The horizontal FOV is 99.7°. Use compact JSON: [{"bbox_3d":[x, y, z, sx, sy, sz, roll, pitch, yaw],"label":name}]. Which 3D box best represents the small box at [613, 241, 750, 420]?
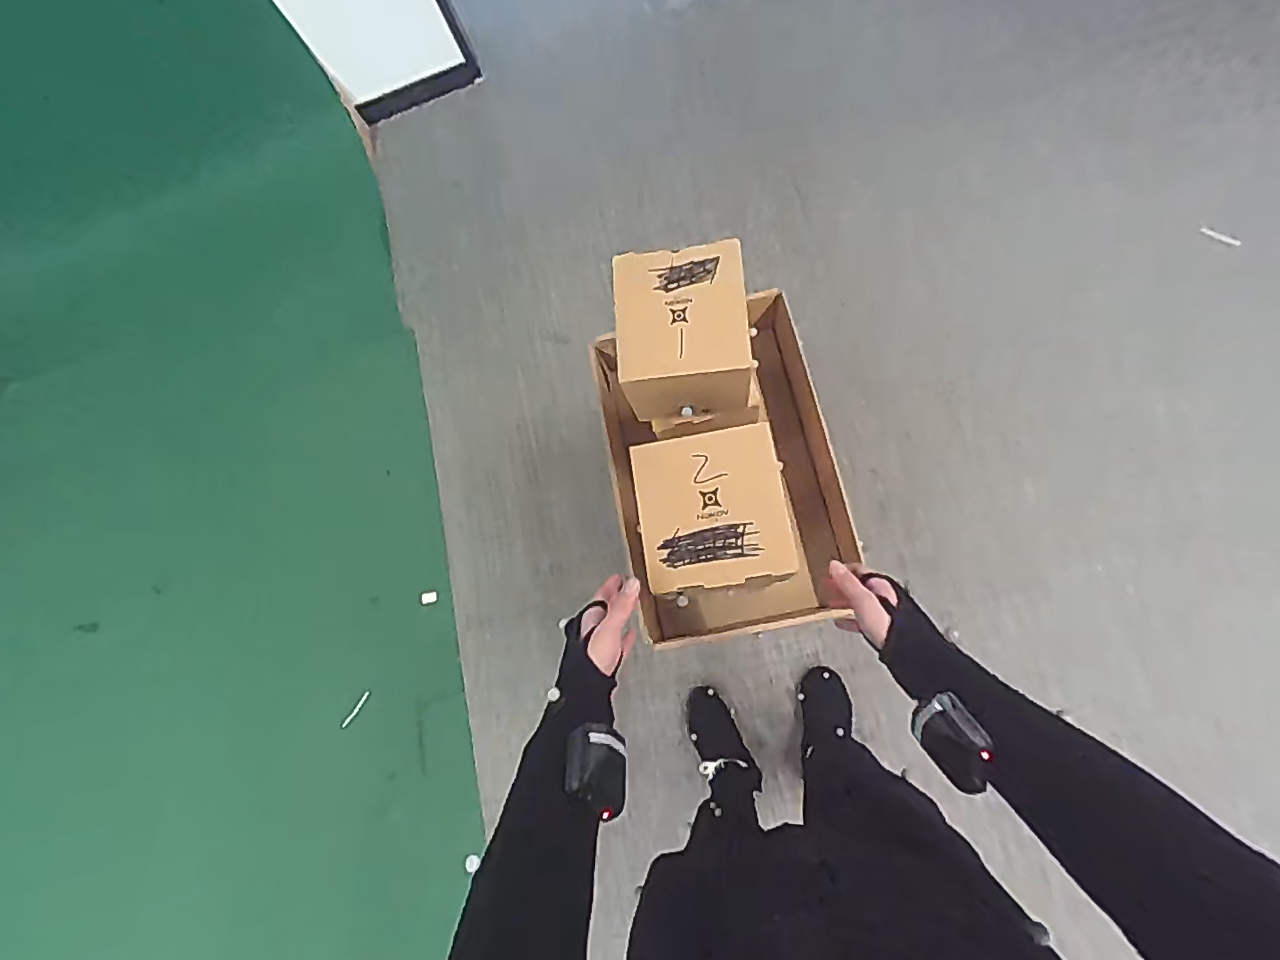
[{"bbox_3d":[0.060,-0.196,0.751,0.168,0.176,0.179,-5,78,9],"label":"small box"}]

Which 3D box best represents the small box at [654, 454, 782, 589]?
[{"bbox_3d":[0.122,0.074,0.842,0.168,0.176,0.179,-8,74,8],"label":"small box"}]

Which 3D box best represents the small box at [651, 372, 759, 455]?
[{"bbox_3d":[0.094,-0.159,0.908,0.168,0.176,0.179,-14,76,7],"label":"small box"}]
